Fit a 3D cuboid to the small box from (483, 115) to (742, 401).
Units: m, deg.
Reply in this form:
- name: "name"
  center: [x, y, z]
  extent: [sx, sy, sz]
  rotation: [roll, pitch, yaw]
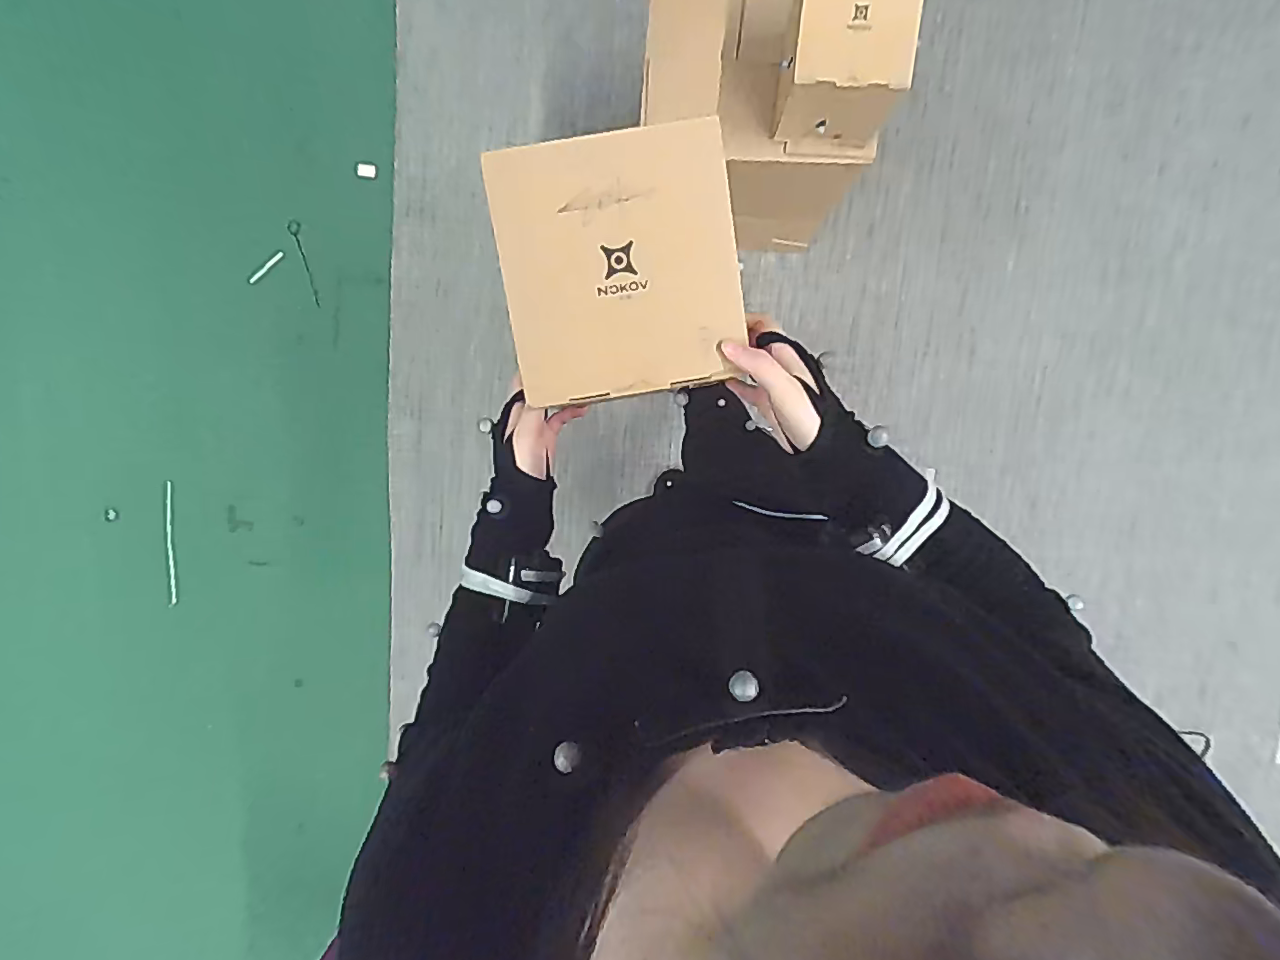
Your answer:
- name: "small box"
  center: [-0.018, -0.165, 0.457]
  extent: [0.168, 0.176, 0.179]
  rotation: [-8, 98, -1]

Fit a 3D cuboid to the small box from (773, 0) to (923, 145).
- name: "small box"
  center: [0.308, -0.651, 0.827]
  extent: [0.168, 0.176, 0.179]
  rotation: [6, 99, 2]
